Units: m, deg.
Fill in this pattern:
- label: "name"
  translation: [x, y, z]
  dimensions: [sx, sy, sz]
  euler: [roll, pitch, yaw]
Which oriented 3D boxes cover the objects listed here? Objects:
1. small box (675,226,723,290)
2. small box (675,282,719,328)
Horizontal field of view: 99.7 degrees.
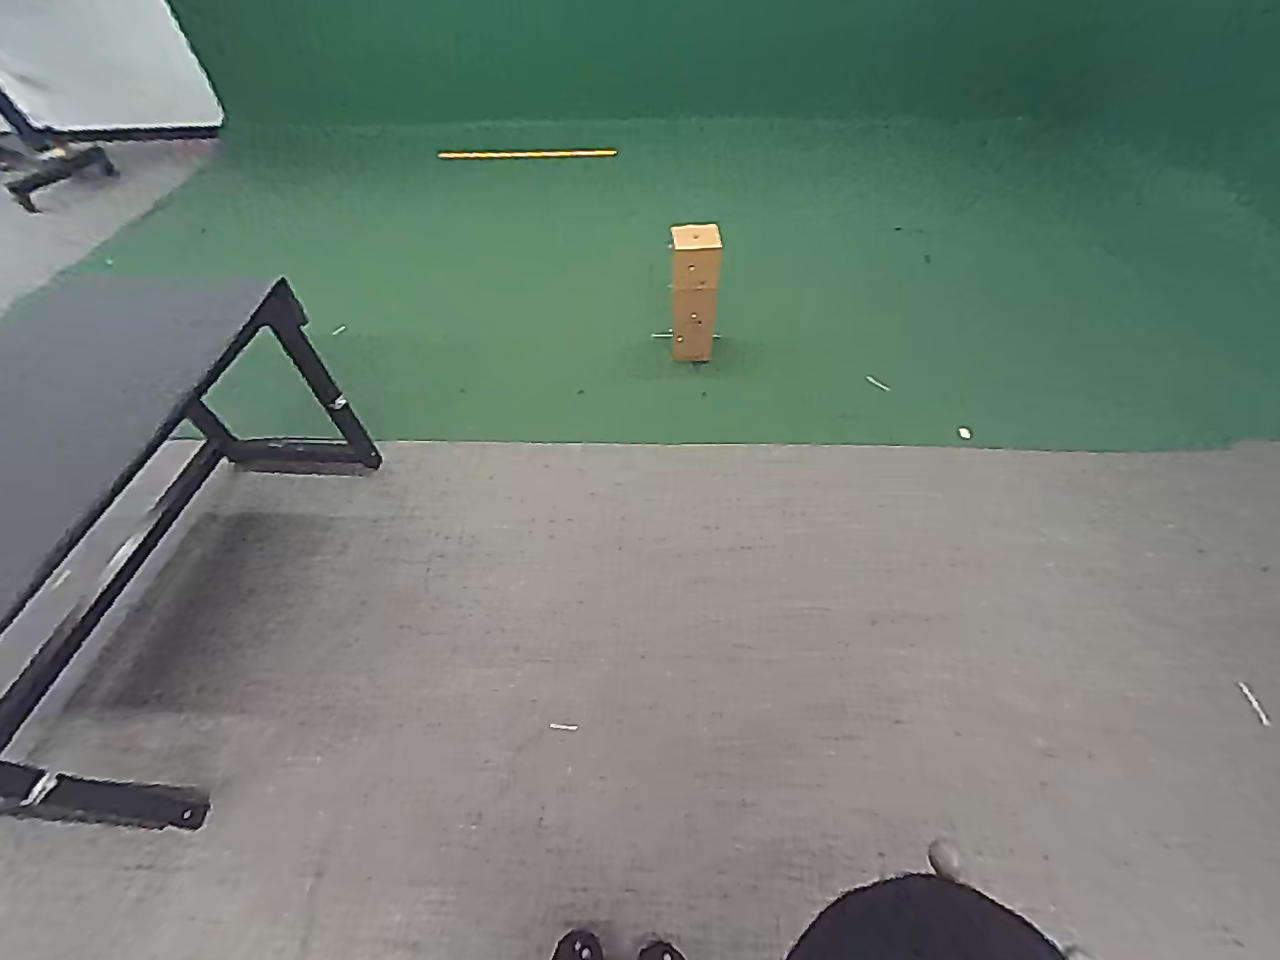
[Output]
- label: "small box"
  translation: [0.220, -0.831, 2.040]
  dimensions: [0.168, 0.176, 0.179]
  euler: [-3, 50, 0]
- label: "small box"
  translation: [0.224, -0.731, 2.167]
  dimensions: [0.168, 0.176, 0.179]
  euler: [-1, 51, 2]
